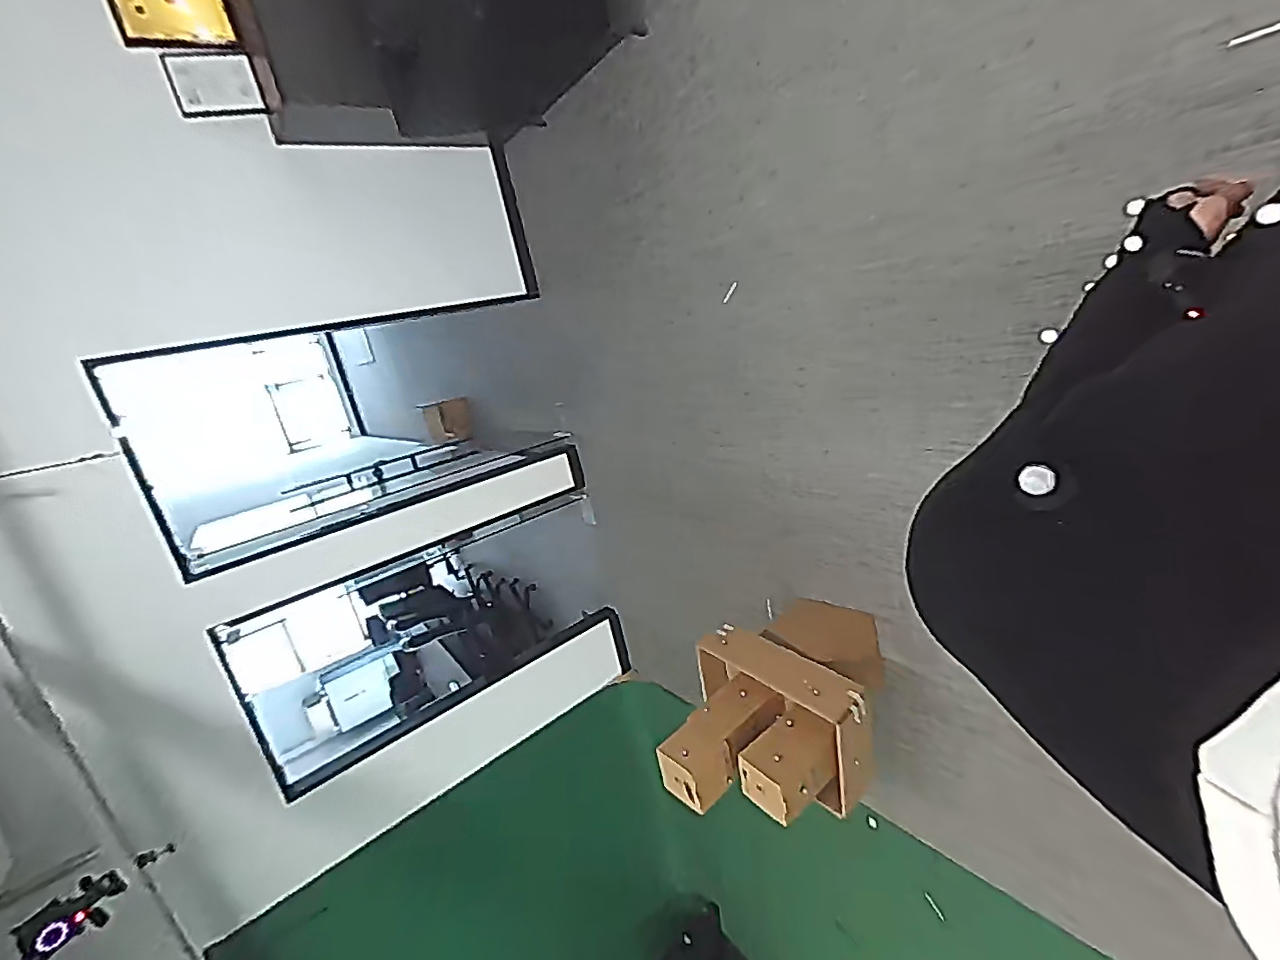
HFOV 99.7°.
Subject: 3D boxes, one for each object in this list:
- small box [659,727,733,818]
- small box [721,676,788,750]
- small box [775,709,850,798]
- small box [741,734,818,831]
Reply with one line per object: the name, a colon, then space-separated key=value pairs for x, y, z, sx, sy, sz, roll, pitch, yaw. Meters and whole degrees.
small box: x=0.193 y=0.960 z=1.793 sx=0.179 sy=0.176 sz=0.168 roll=8 pitch=114 yaw=51
small box: x=0.427 y=0.857 z=2.001 sx=0.179 sy=0.176 sz=0.168 roll=10 pitch=116 yaw=50
small box: x=0.575 y=0.898 z=1.800 sx=0.179 sy=0.176 sz=0.168 roll=15 pitch=121 yaw=52
small box: x=0.447 y=0.948 z=1.713 sx=0.179 sy=0.176 sz=0.168 roll=15 pitch=119 yaw=51
